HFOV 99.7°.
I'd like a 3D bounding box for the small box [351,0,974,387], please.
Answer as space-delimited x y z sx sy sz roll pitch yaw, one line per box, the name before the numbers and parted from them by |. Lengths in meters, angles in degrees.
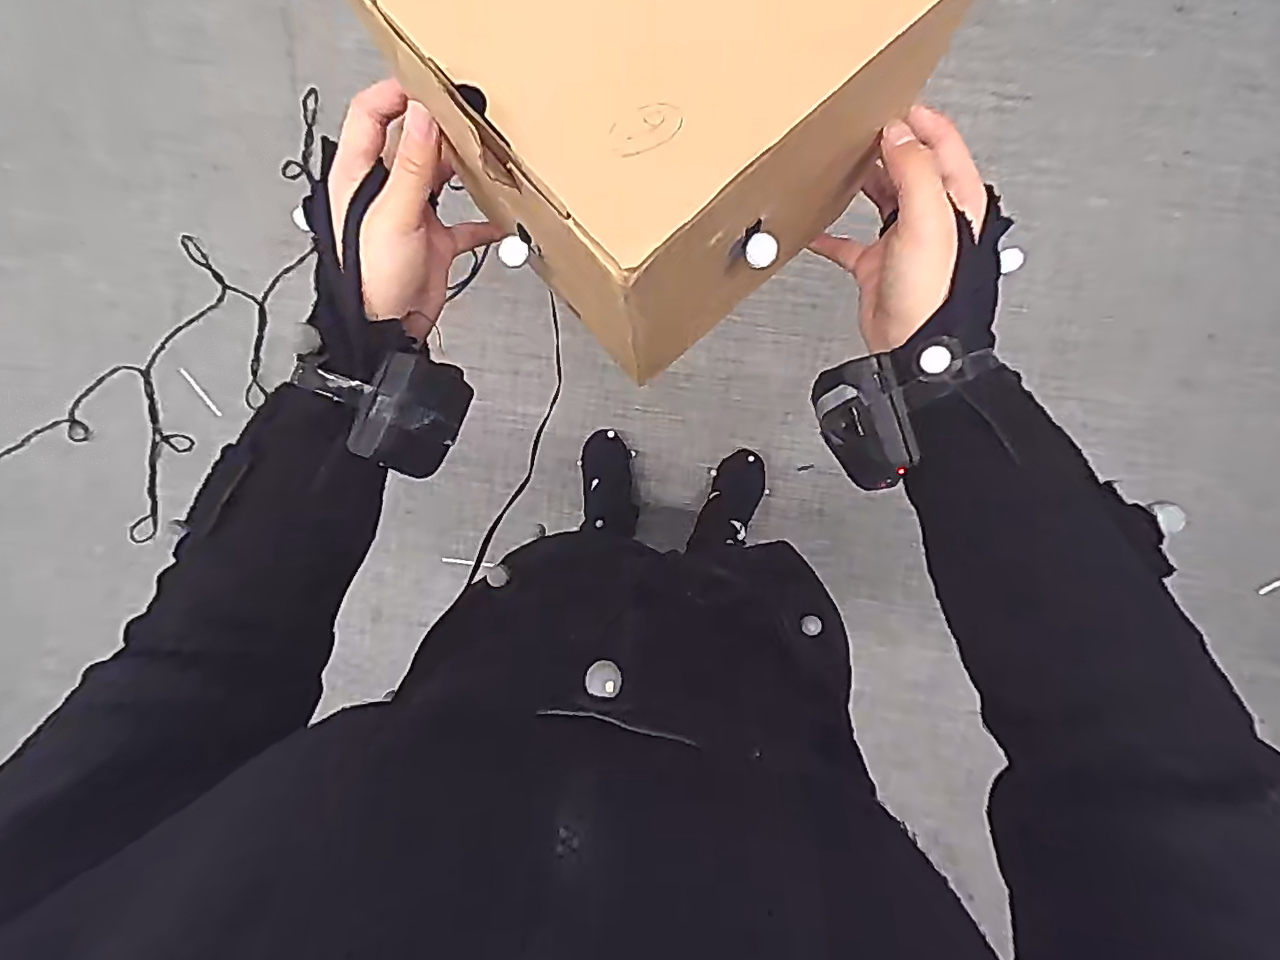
small box | 0.010 -0.172 0.278 0.179 0.176 0.168 -41 86 0
